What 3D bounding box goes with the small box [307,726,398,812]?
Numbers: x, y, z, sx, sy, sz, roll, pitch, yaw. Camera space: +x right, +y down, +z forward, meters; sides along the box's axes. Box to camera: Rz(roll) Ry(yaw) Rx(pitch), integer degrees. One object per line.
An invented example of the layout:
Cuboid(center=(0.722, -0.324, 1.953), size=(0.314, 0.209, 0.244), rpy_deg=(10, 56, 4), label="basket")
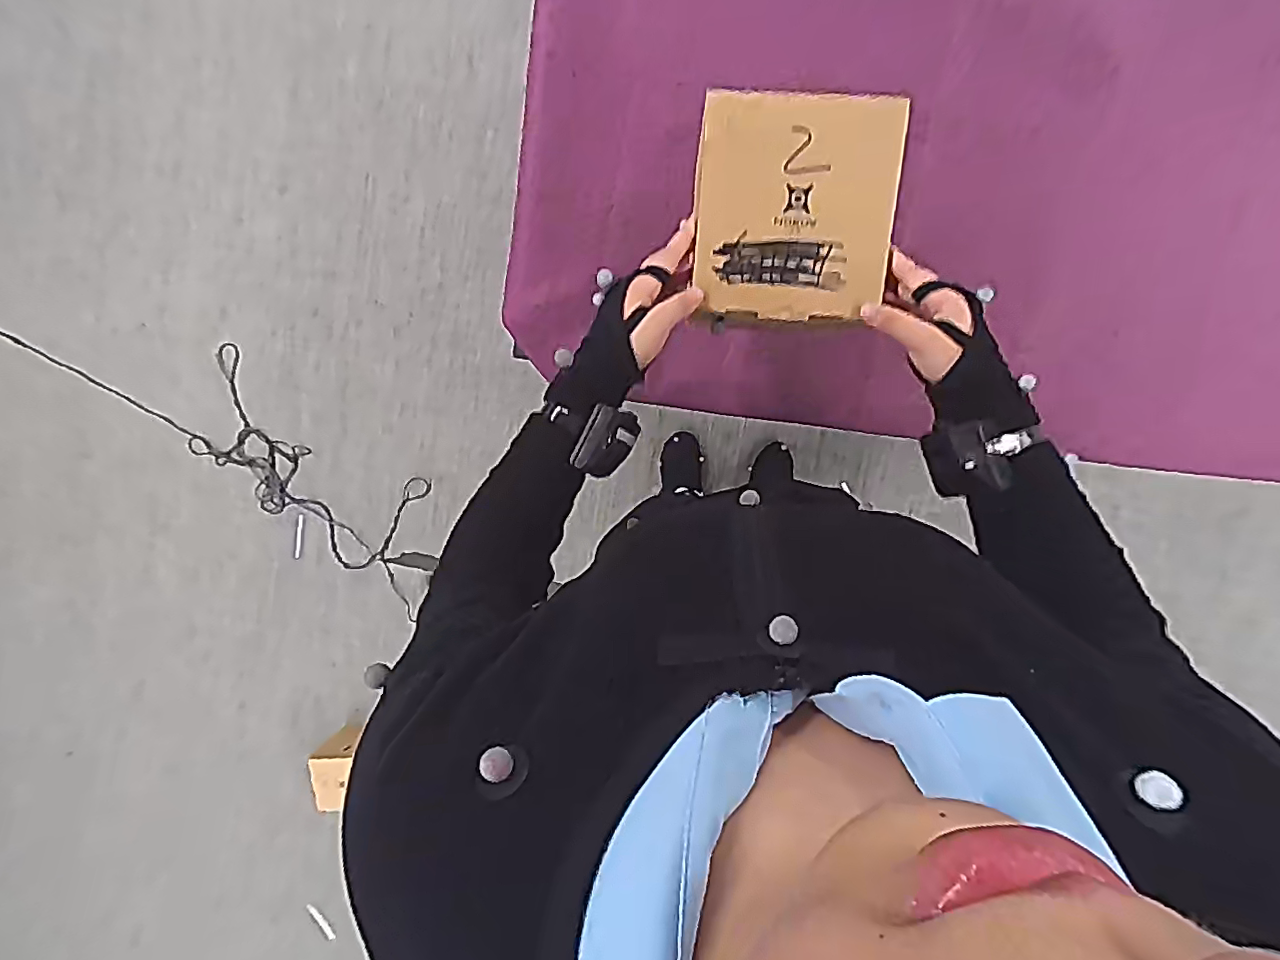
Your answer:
Cuboid(center=(-0.850, 0.860, 1.619), size=(0.179, 0.176, 0.168), rpy_deg=(-6, 96, 7), label="small box")
